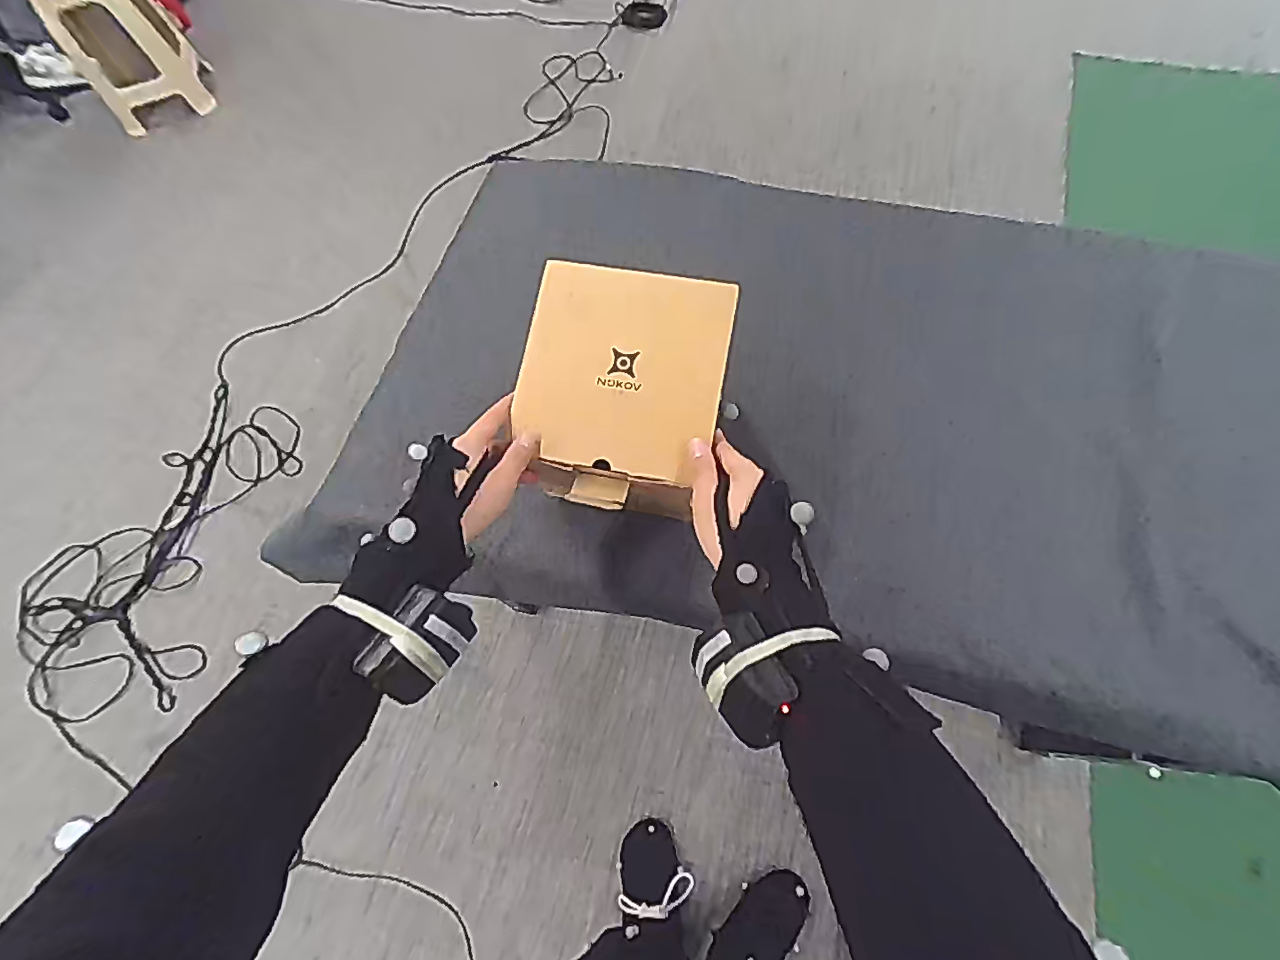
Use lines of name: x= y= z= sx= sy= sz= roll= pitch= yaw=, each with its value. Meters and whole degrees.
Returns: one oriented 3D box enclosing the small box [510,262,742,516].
small box: x=-0.006 y=-0.074 z=0.518 sx=0.168 sy=0.176 sz=0.179 roll=10 pitch=79 yaw=5
